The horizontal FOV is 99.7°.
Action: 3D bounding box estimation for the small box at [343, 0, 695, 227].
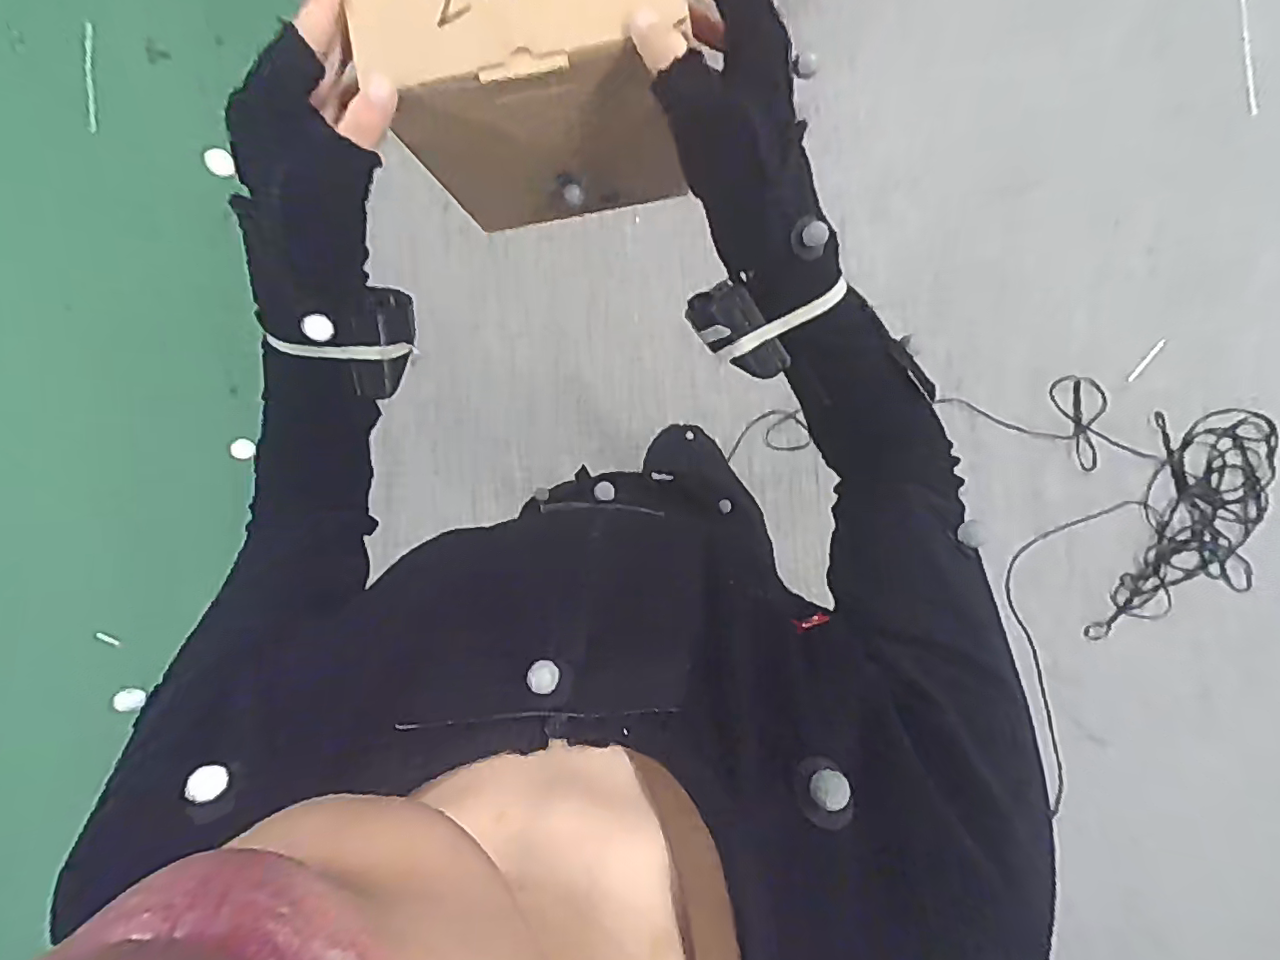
[{"bbox_3d":[-0.060,-0.288,0.331,0.168,0.176,0.179,-8,91,6],"label":"small box"}]
